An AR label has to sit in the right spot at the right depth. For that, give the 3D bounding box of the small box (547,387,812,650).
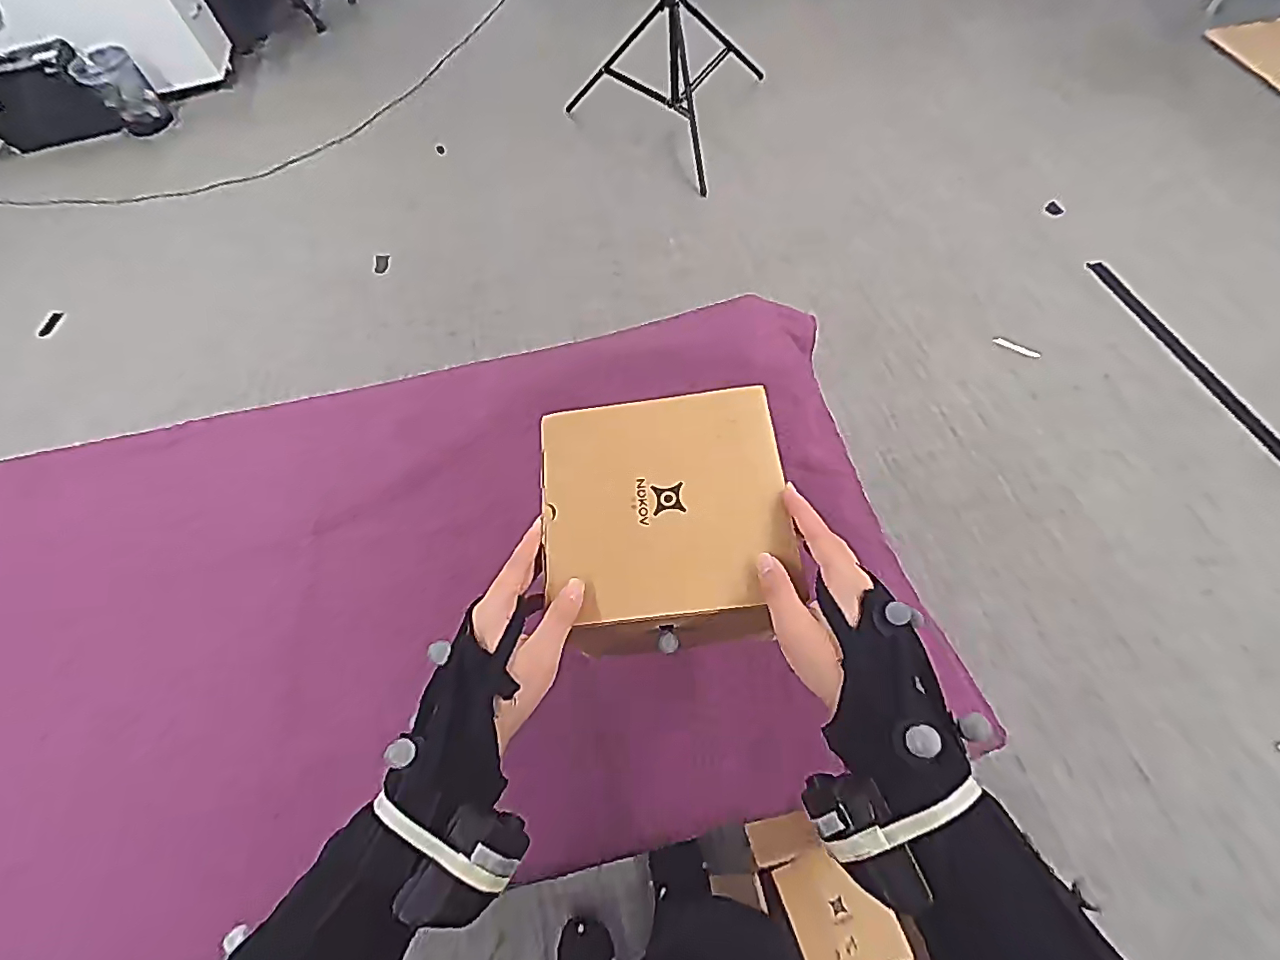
[{"bbox_3d":[0.028,0.045,0.459,0.179,0.176,0.168,-8,66,4],"label":"small box"}]
